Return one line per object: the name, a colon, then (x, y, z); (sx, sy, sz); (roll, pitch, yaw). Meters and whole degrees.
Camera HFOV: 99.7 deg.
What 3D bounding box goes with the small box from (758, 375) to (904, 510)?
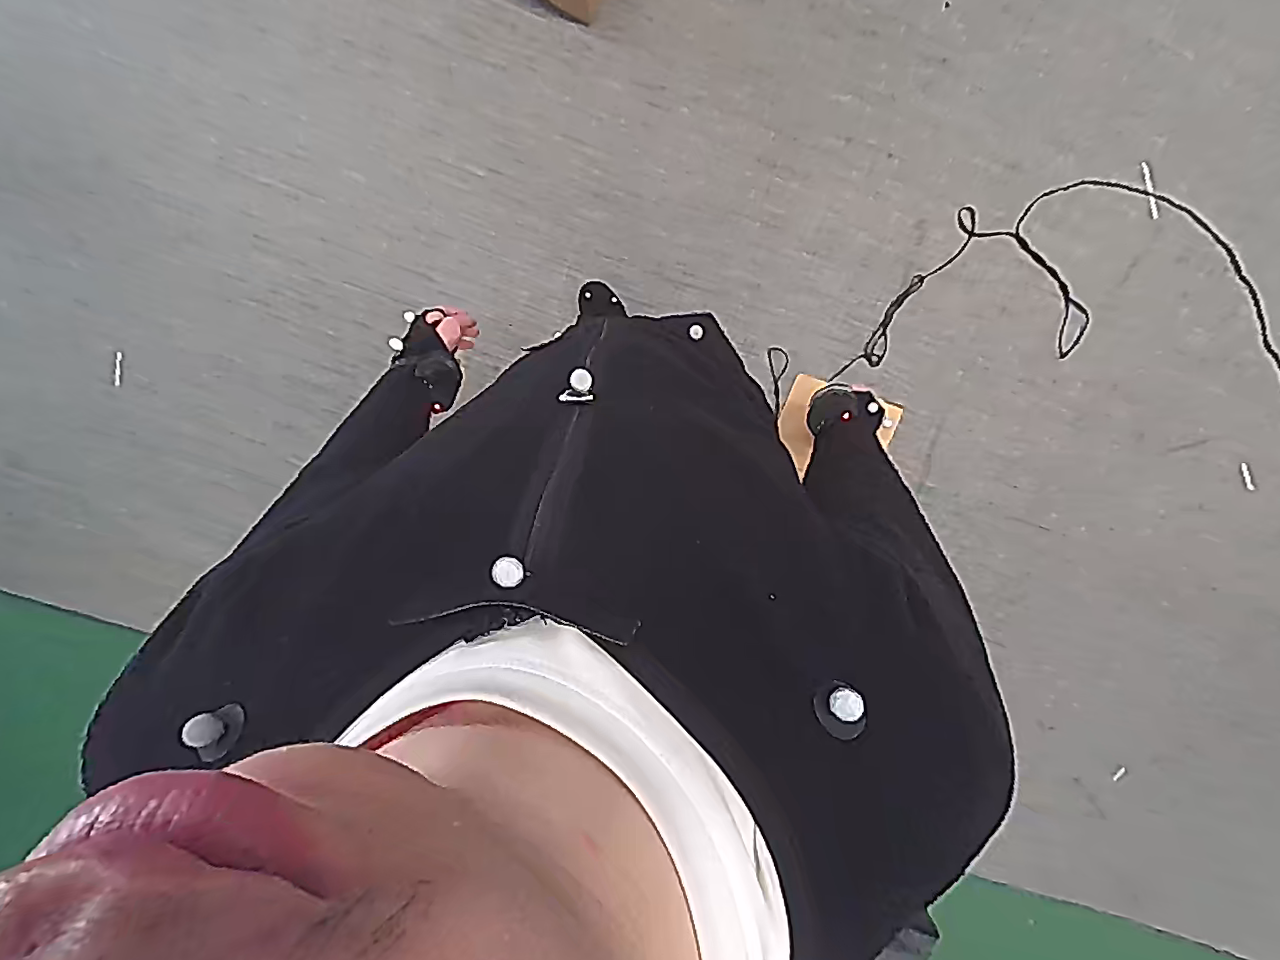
small box: (0.304, -0.055, 0.897); (0.168, 0.179, 0.176); (22, 93, 9)
